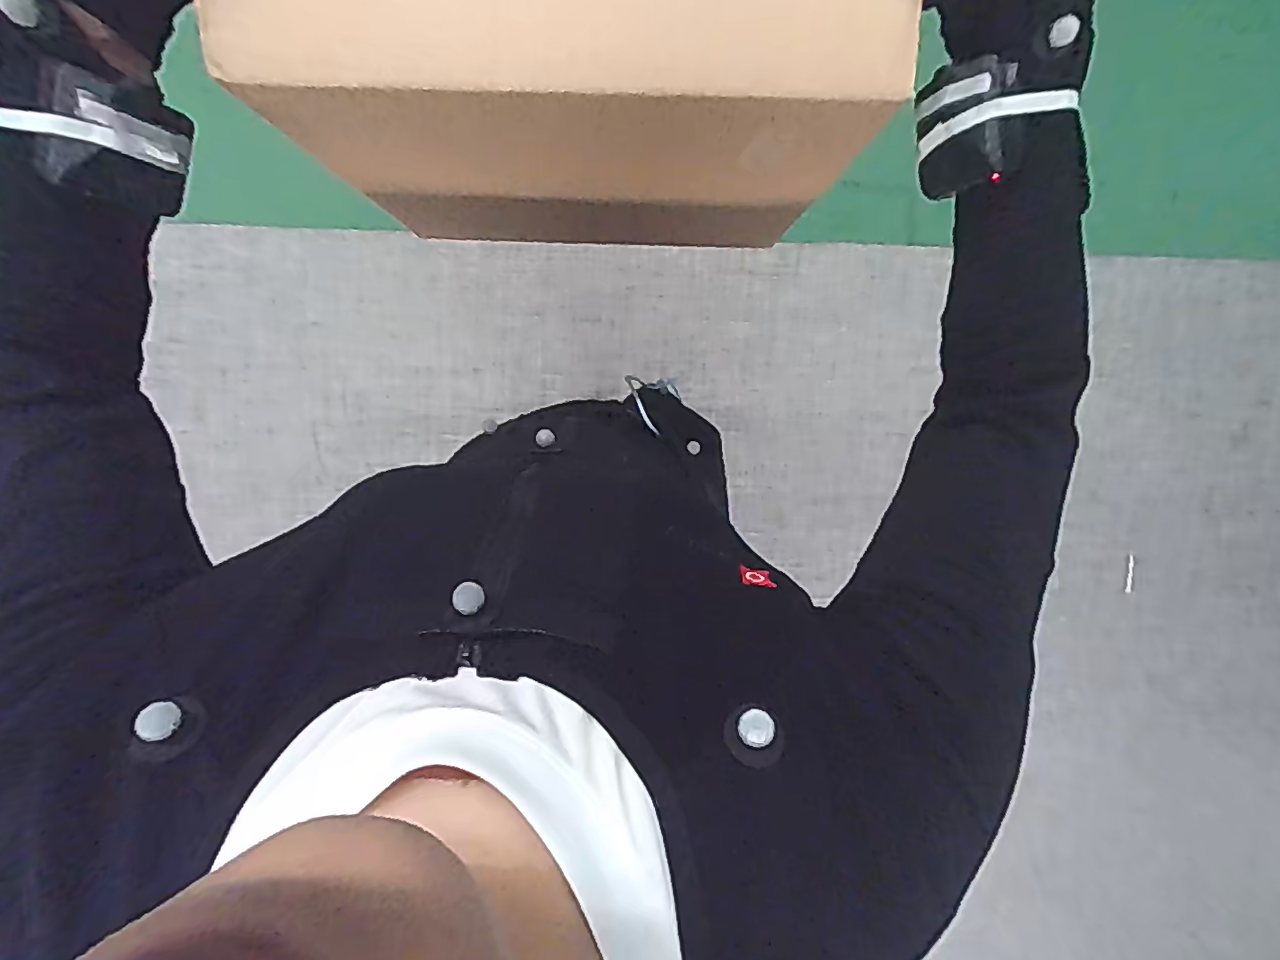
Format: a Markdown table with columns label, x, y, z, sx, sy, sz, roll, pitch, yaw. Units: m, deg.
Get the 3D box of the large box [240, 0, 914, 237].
| label | x | y | z | sx | sy | sz | roll | pitch | yaw |
| --- | --- | --- | --- | --- | --- | --- | --- | --- | --- |
| large box | -0.038 | -0.408 | 0.449 | 0.408 | 0.320 | 0.320 | 0 | 99 | -1 |
